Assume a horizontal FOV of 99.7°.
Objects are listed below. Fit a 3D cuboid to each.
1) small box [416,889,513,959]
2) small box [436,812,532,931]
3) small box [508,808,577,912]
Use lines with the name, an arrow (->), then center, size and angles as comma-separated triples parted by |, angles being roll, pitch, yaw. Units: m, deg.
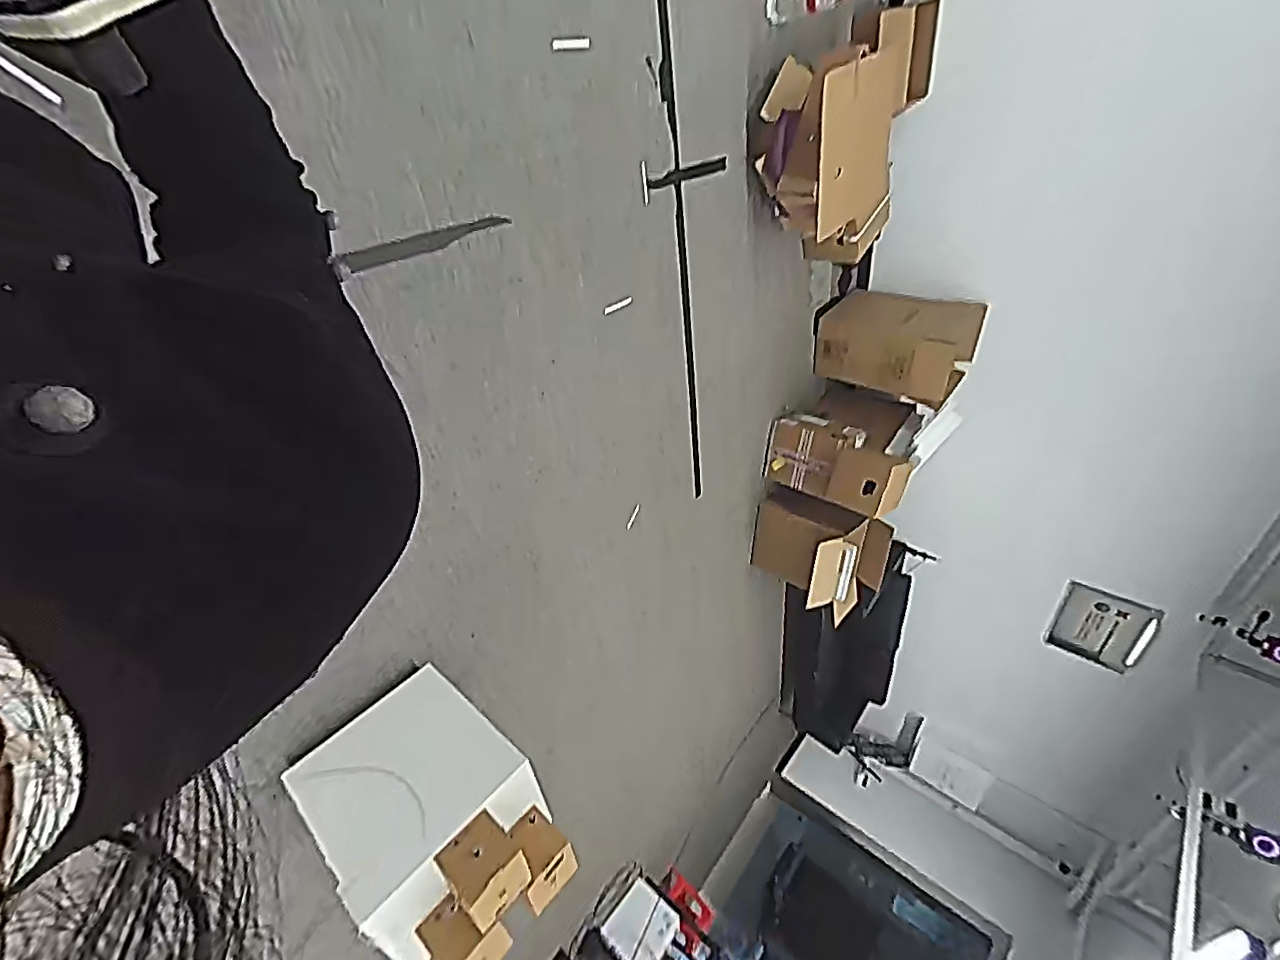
small box -> -0.482, 1.253, 1.487 | 0.168, 0.176, 0.179 | -37, 133, -37
small box -> -0.419, 1.036, 1.448 | 0.168, 0.176, 0.179 | -34, 133, -37
small box -> -0.316, 1.138, 1.635 | 0.168, 0.176, 0.179 | -34, 134, -37
